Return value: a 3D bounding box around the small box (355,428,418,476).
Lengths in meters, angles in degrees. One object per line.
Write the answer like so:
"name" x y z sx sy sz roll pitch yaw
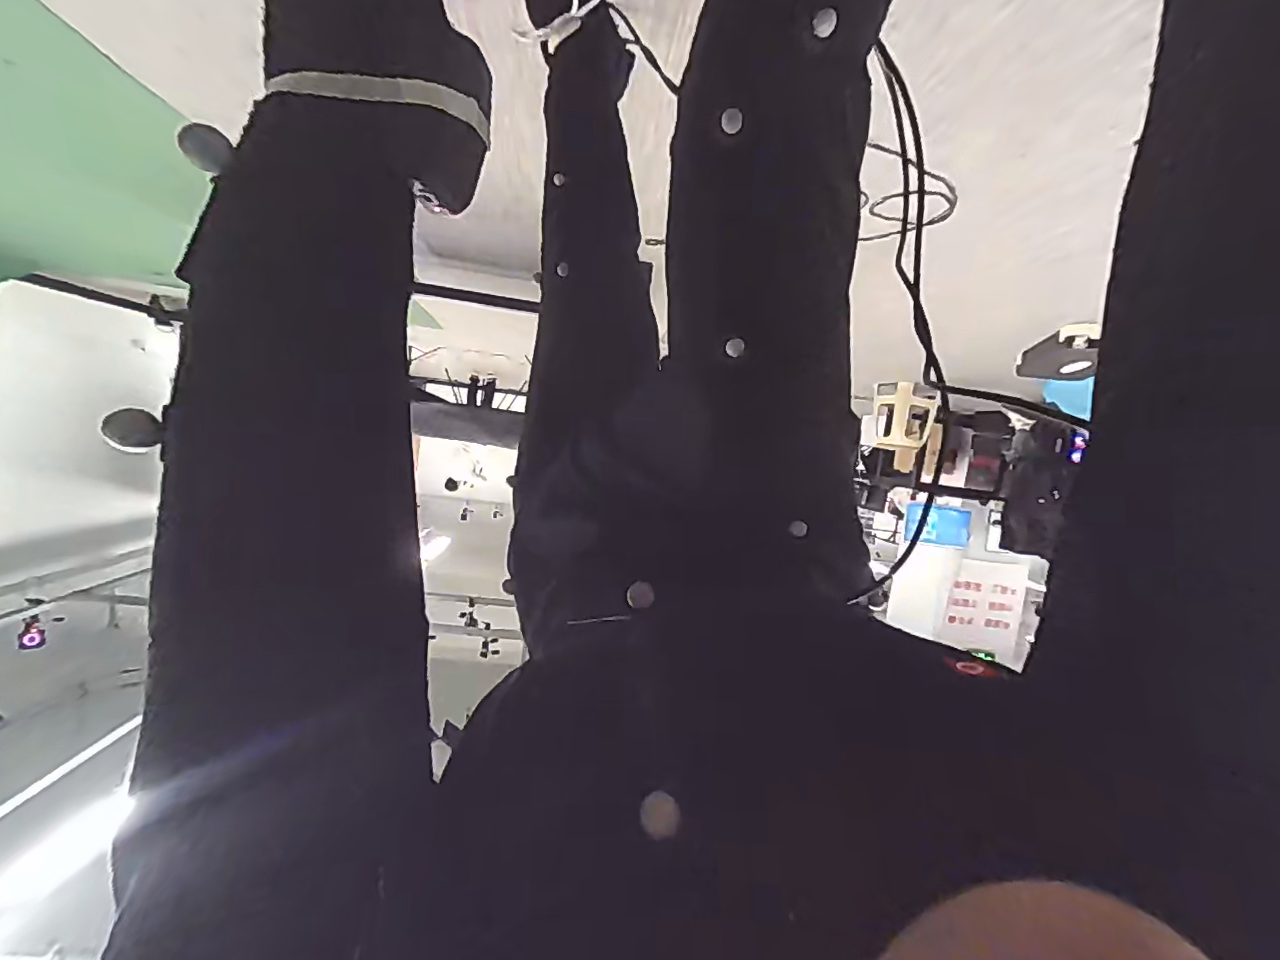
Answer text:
"small box" -0.998 -0.113 2.137 0.168 0.176 0.179 9 -175 0
